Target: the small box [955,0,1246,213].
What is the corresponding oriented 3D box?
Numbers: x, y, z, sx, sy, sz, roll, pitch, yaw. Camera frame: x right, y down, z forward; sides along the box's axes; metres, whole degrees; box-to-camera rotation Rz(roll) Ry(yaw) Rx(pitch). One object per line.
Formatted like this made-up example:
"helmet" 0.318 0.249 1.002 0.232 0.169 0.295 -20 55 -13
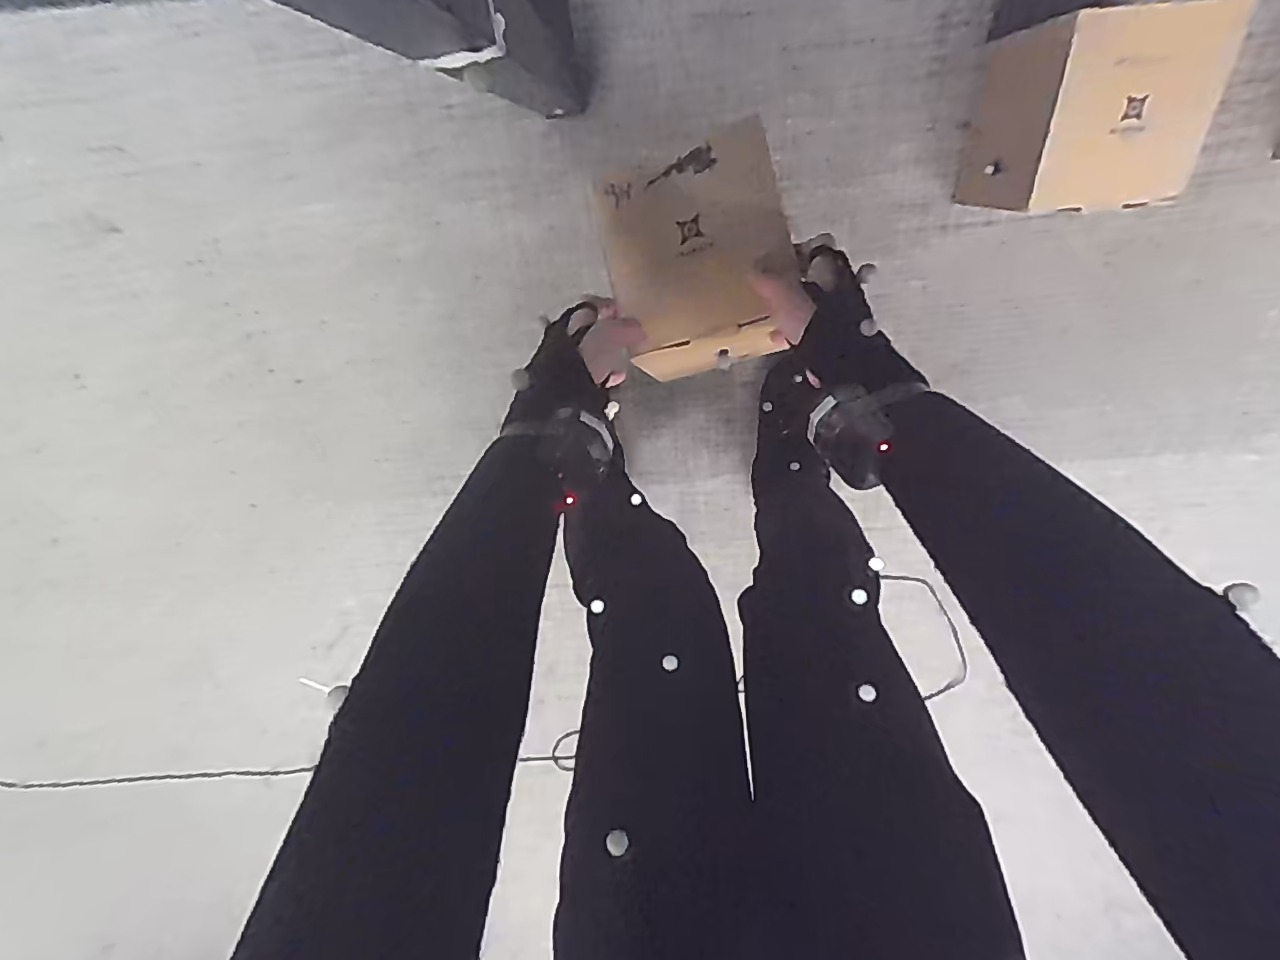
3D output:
"small box" 0.490 -0.410 0.615 0.168 0.176 0.179 -4 118 3
